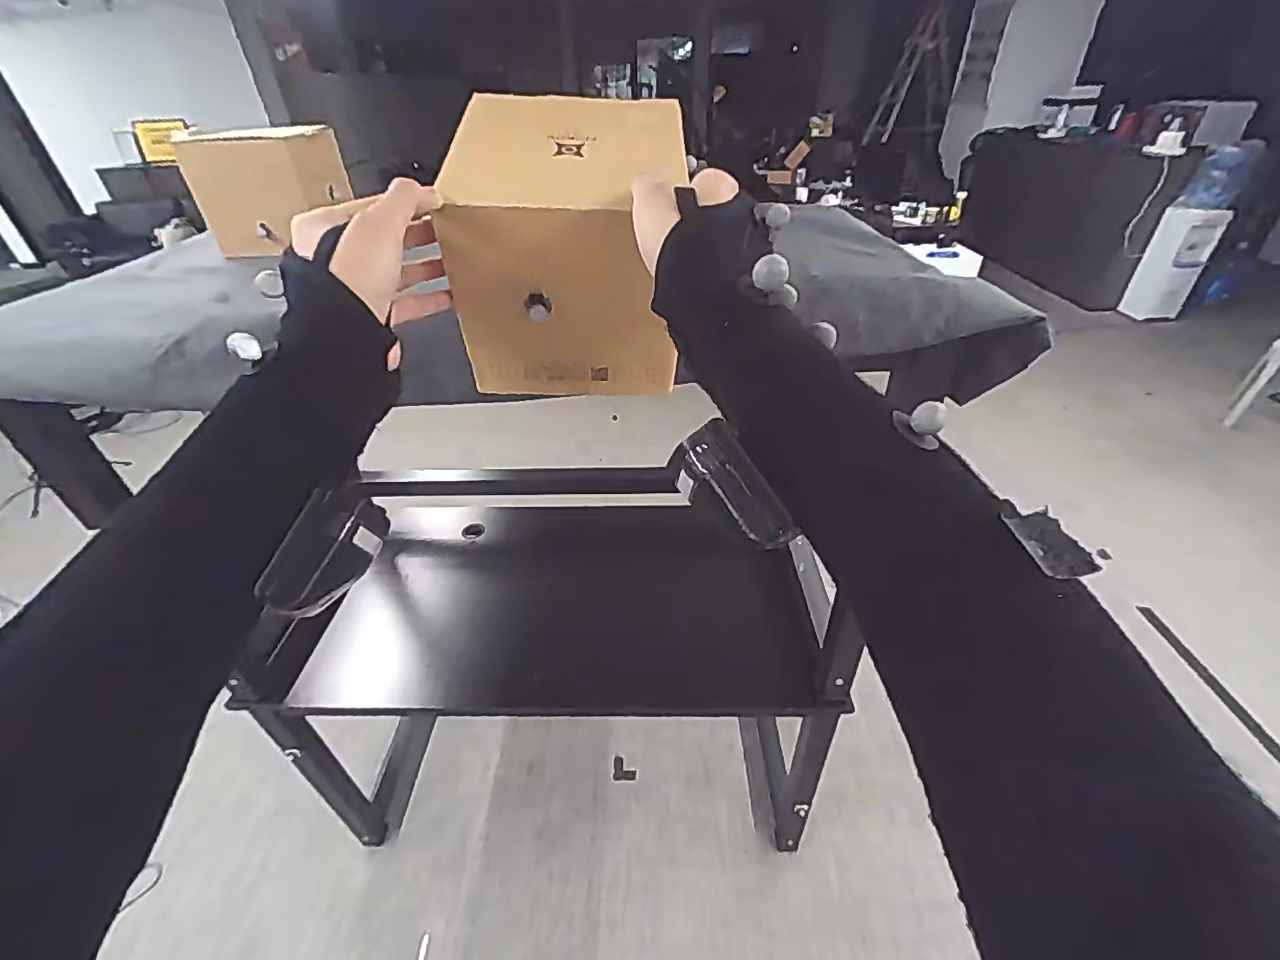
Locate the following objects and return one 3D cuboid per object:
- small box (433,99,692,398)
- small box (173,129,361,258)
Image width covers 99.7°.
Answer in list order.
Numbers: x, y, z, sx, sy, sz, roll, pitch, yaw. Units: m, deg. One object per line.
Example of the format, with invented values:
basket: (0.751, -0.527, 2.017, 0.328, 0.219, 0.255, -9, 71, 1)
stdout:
small box: (-0.050, -0.184, 0.446, 0.168, 0.176, 0.179, 1, 53, -3)
small box: (-0.601, -0.478, 0.904, 0.179, 0.176, 0.168, -1, 37, 0)
